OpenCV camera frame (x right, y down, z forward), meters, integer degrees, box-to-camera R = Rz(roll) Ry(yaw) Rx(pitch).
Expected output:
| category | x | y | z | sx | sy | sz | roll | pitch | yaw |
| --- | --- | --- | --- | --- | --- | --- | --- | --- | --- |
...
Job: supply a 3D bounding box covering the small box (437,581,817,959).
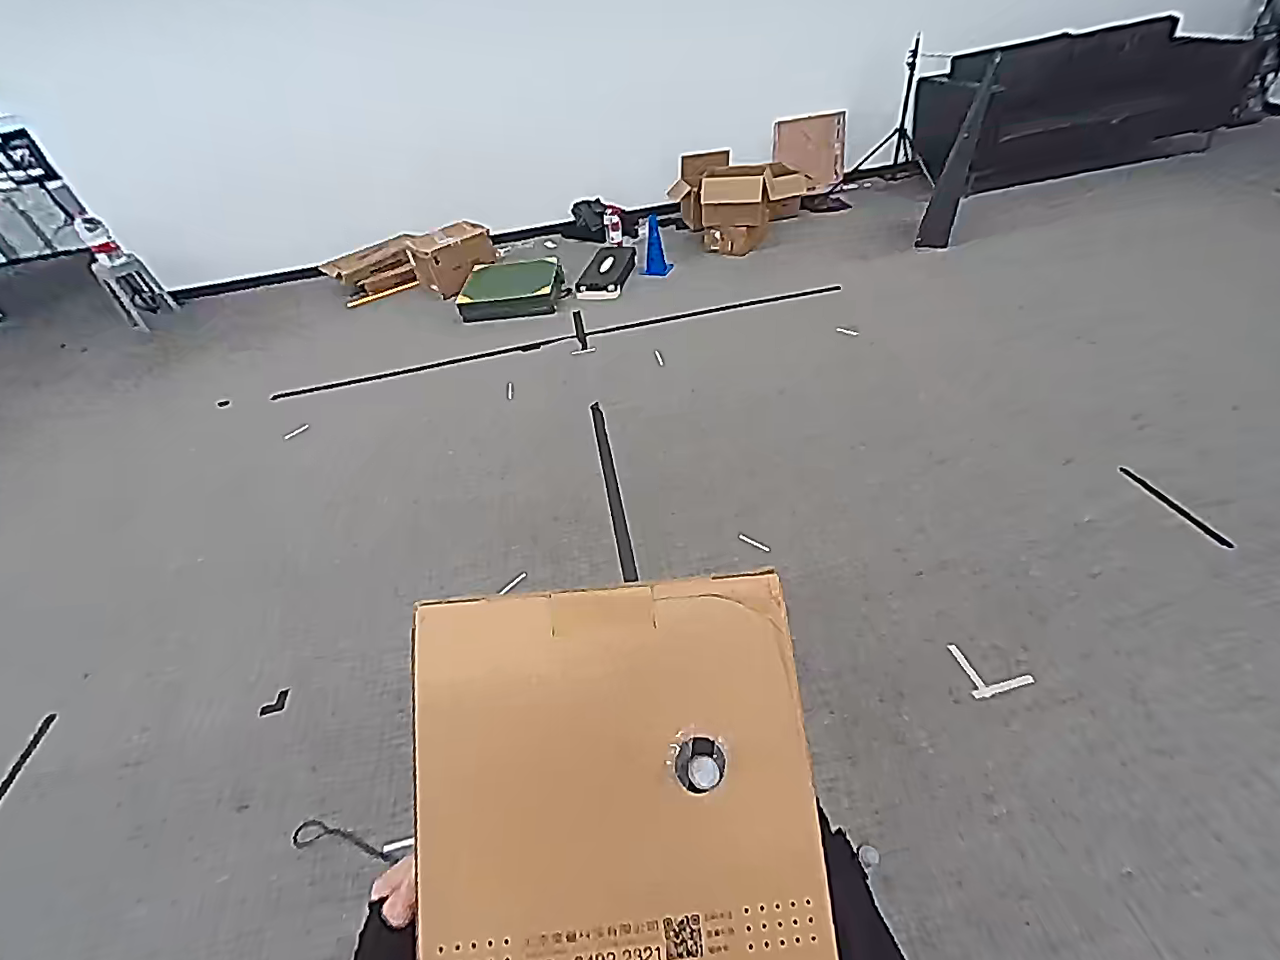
| category | x | y | z | sx | sy | sz | roll | pitch | yaw |
| --- | --- | --- | --- | --- | --- | --- | --- | --- | --- |
| small box | -0.008 | 0.156 | 0.324 | 0.168 | 0.179 | 0.176 | -4 | 79 | -3 |
